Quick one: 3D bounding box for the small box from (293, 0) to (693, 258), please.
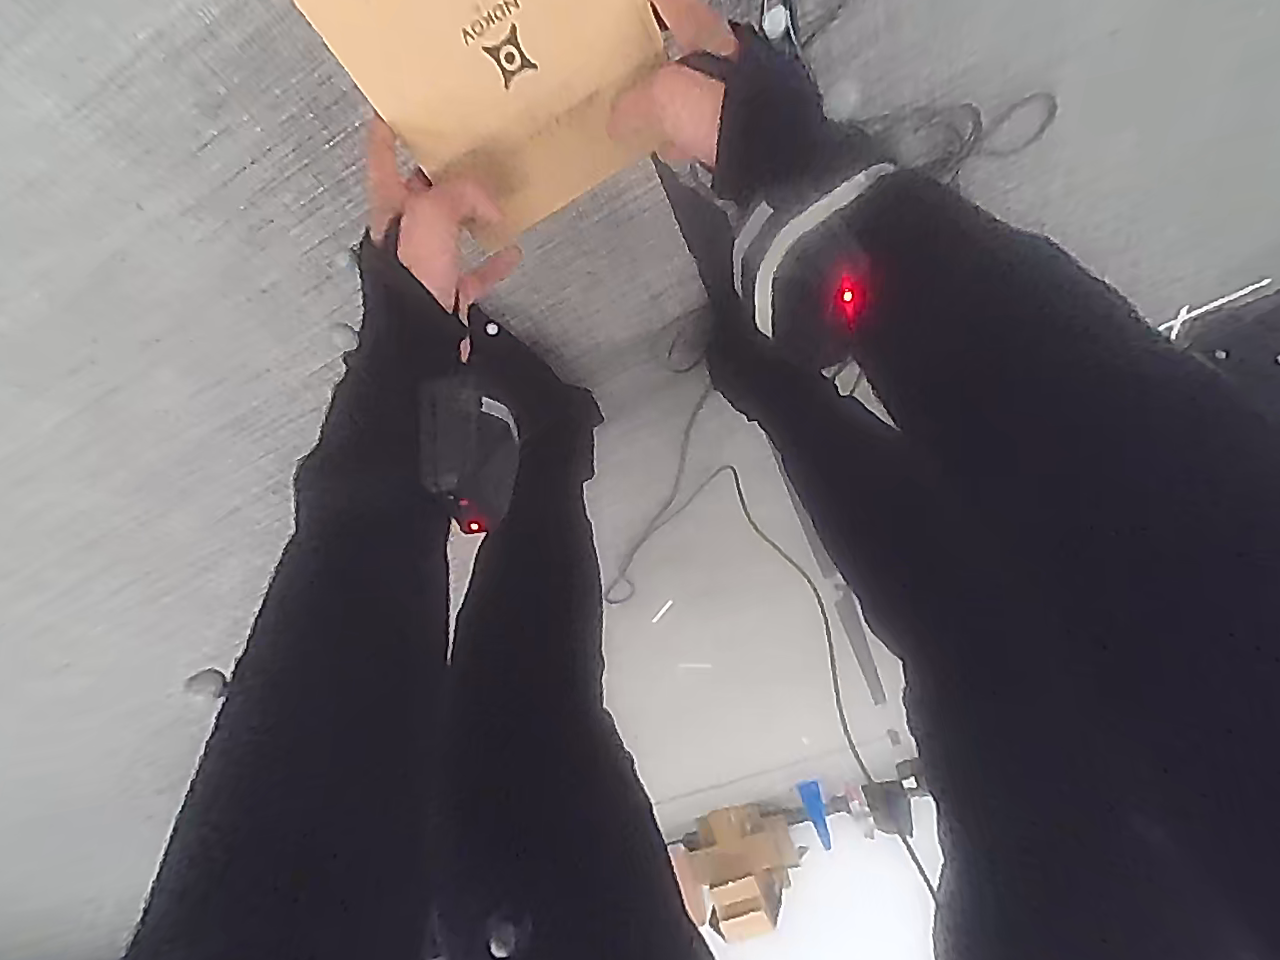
[{"bbox_3d":[-0.086,-0.293,0.358,0.168,0.176,0.179,-24,137,14],"label":"small box"}]
